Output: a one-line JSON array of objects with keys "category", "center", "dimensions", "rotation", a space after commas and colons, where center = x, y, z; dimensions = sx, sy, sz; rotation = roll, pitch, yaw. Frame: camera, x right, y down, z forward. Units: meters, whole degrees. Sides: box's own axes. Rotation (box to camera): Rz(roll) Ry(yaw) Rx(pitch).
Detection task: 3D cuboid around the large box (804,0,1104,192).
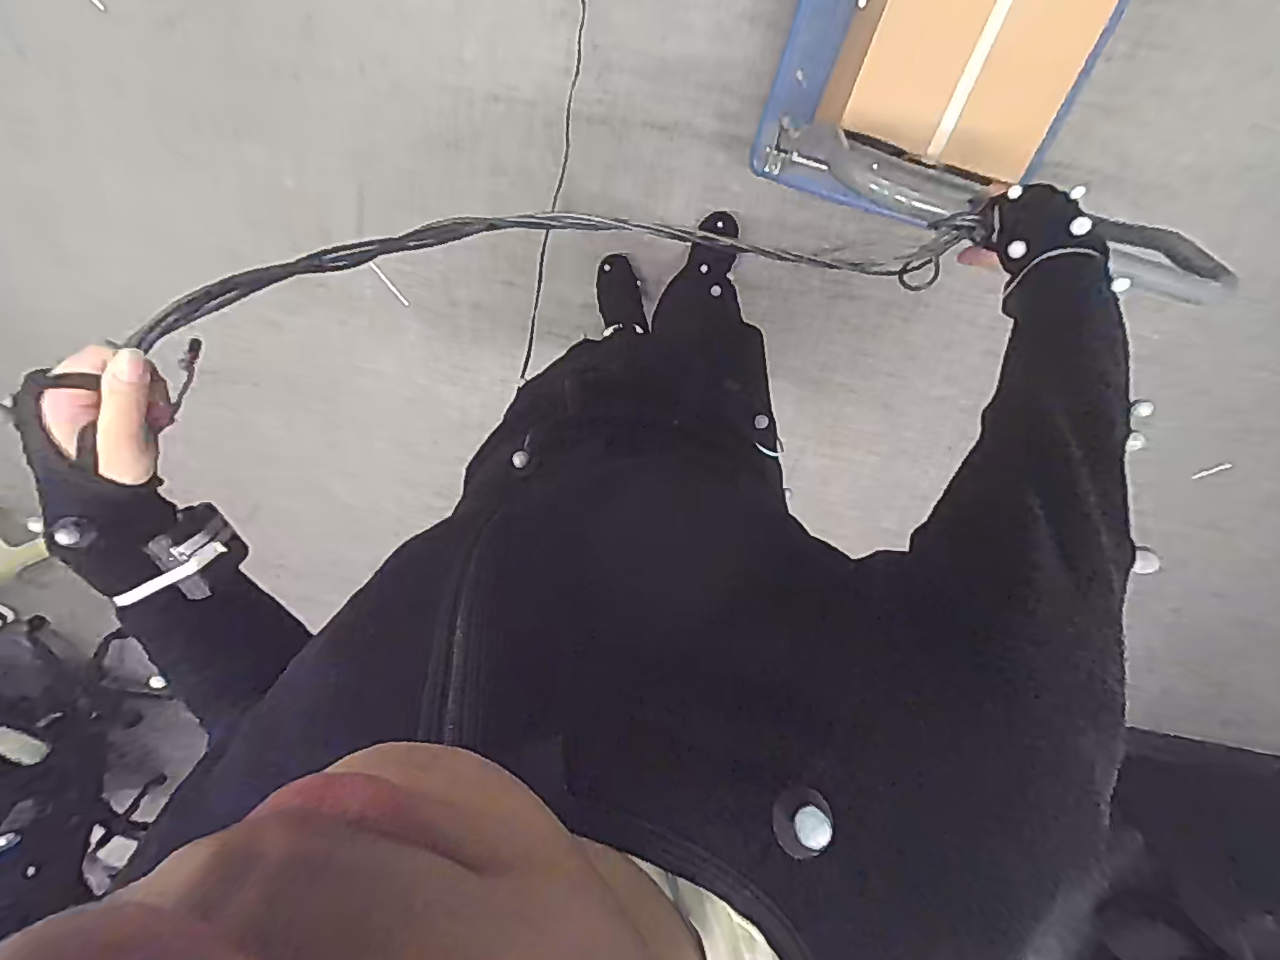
[{"category": "large box", "center": [0.523, -0.756, 0.928], "dimensions": [0.320, 0.320, 0.408], "rotation": [16, 118, -4]}]
